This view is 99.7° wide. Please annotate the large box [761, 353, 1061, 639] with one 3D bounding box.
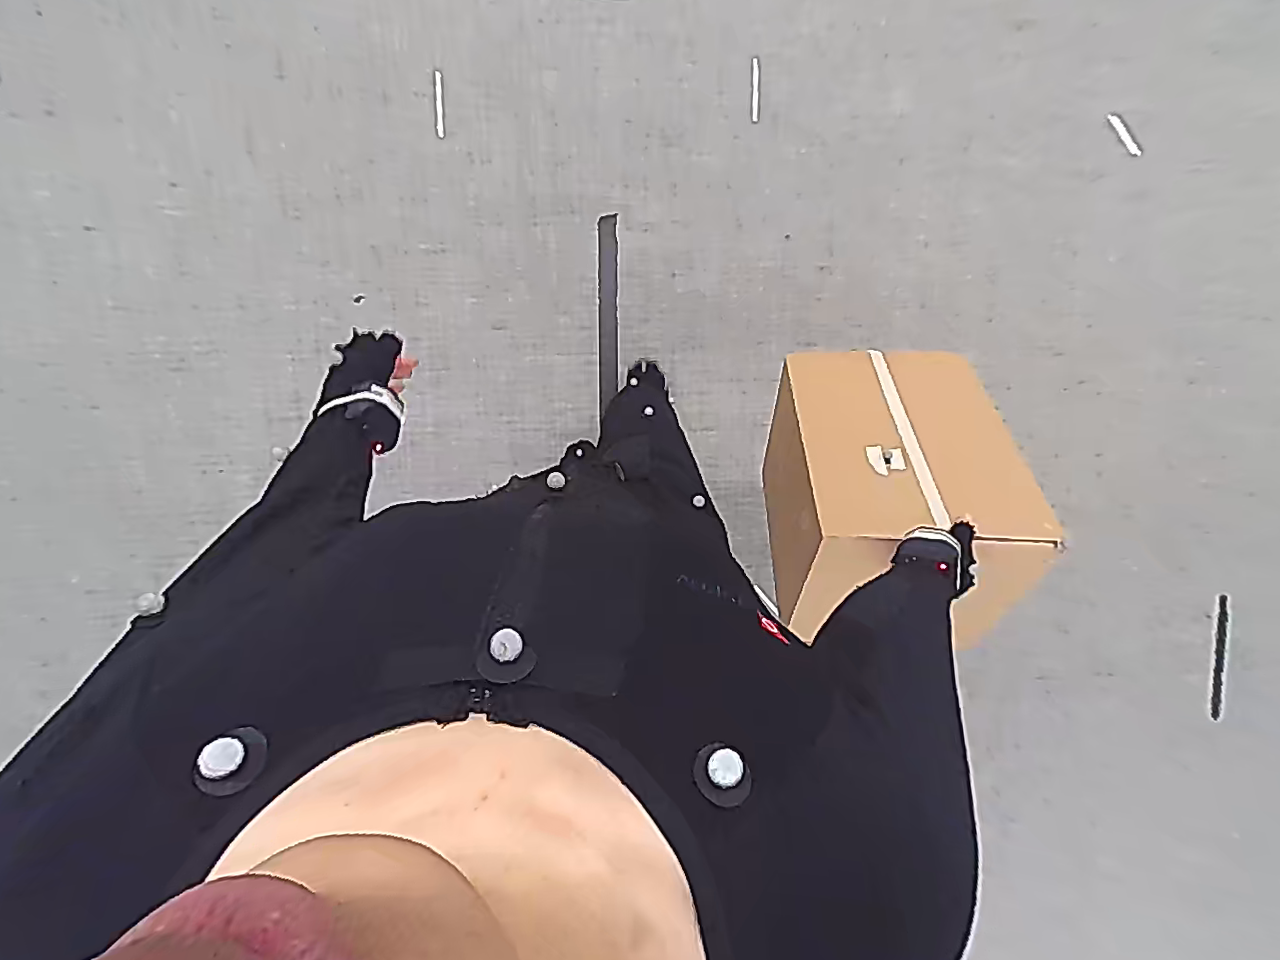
[{"bbox_3d":[0.411,0.024,0.957,0.320,0.408,0.320,1,140,3],"label":"large box"}]
